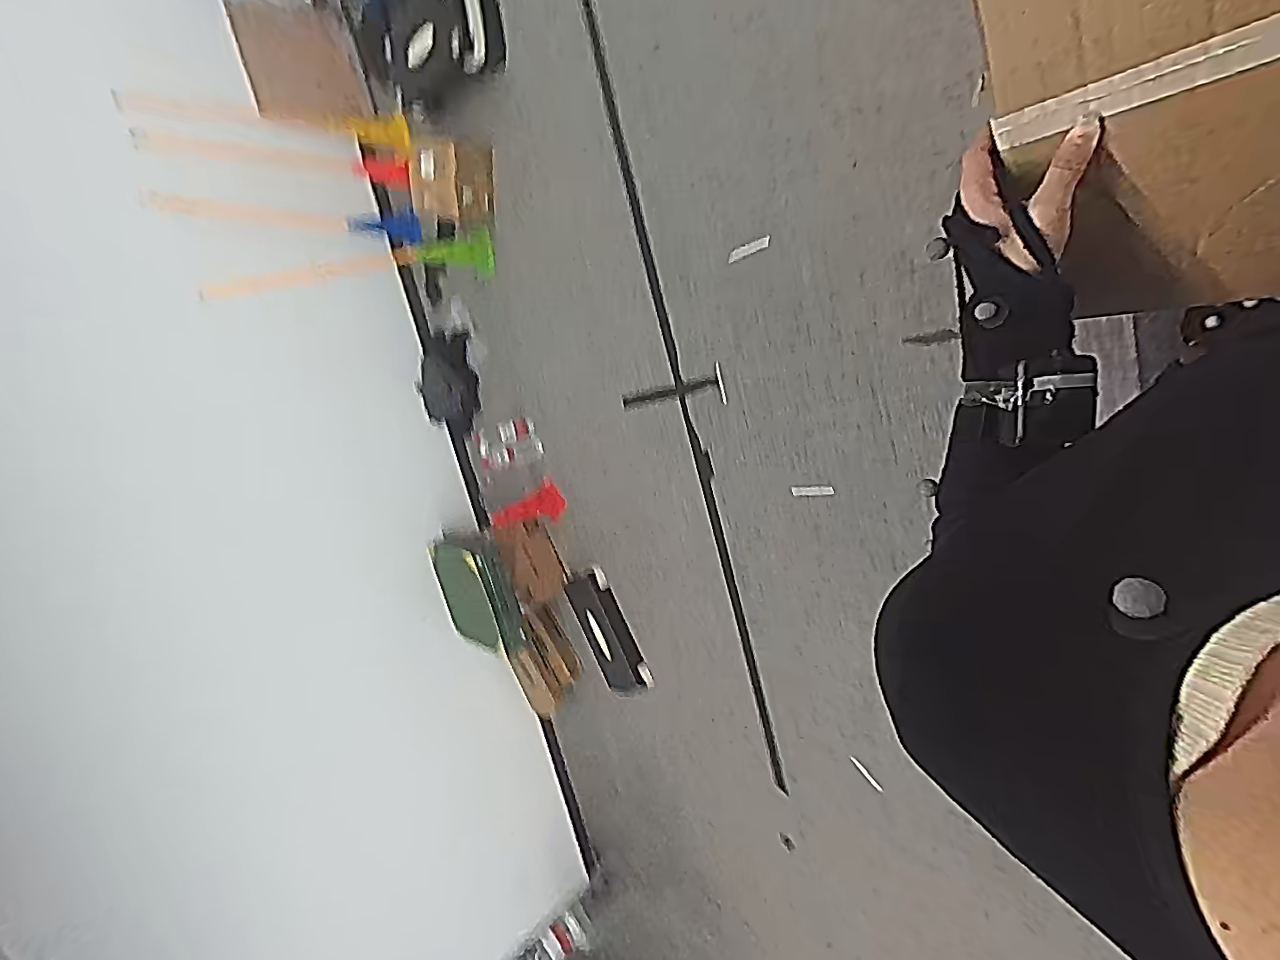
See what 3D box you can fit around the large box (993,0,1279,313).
[{"bbox_3d":[0.462,-0.330,0.270,0.408,0.320,0.320,8,144,50],"label":"large box"}]
